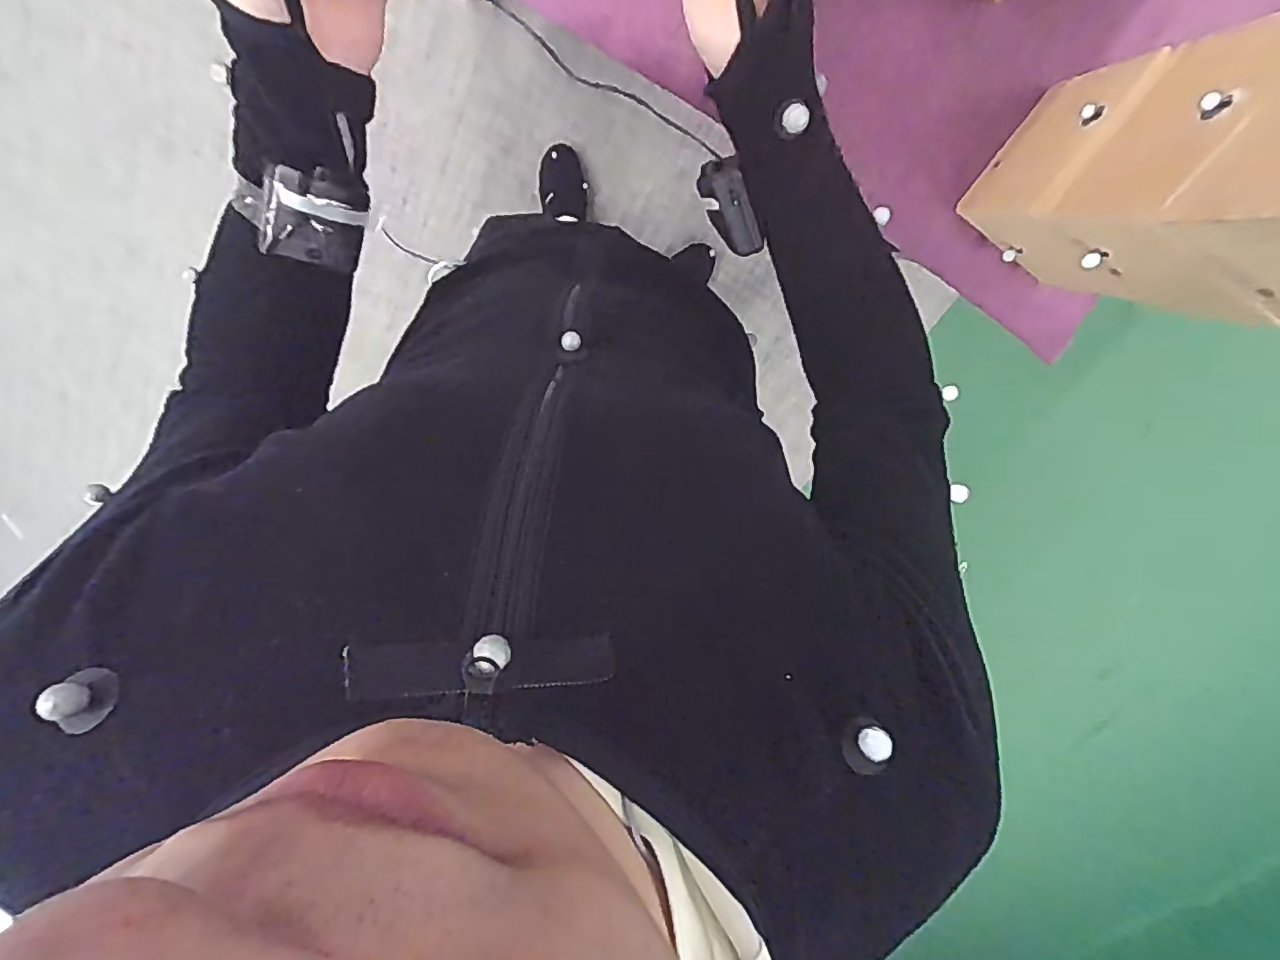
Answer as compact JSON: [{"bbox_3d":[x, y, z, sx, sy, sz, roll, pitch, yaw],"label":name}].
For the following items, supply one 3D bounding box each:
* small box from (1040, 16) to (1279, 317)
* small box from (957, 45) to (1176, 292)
[{"bbox_3d":[0.527,-0.279,0.489,0.168,0.176,0.179,30,114,-12],"label":"small box"},{"bbox_3d":[0.528,-0.352,0.635,0.179,0.176,0.168,30,113,-13],"label":"small box"}]
